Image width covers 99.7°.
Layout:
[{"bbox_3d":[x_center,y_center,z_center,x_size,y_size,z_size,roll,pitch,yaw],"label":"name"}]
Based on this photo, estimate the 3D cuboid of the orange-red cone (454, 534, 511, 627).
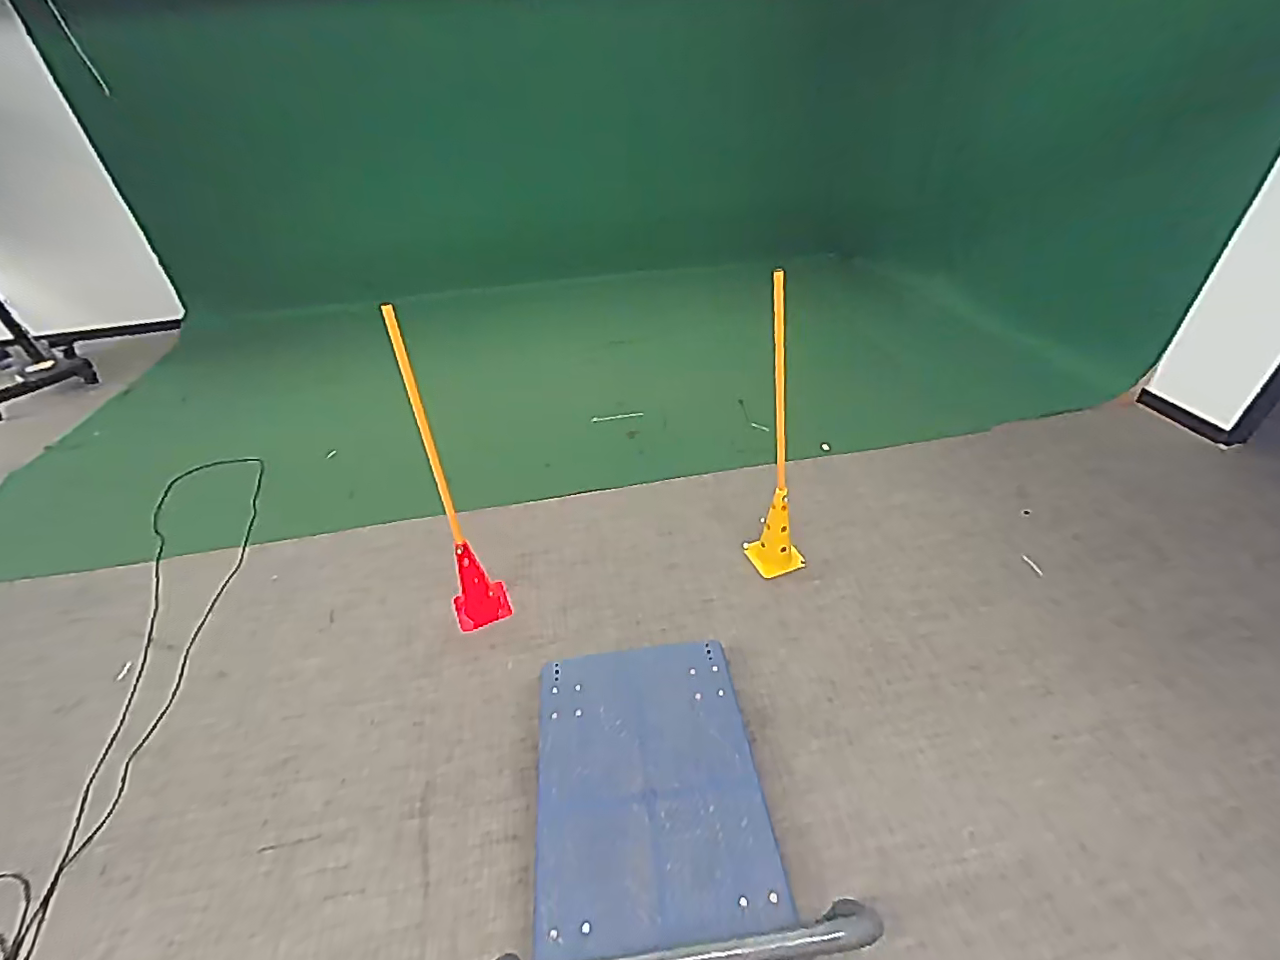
[{"bbox_3d":[-0.624,0.340,2.000,0.199,0.360,0.198,-19,40,-17],"label":"orange-red cone"}]
